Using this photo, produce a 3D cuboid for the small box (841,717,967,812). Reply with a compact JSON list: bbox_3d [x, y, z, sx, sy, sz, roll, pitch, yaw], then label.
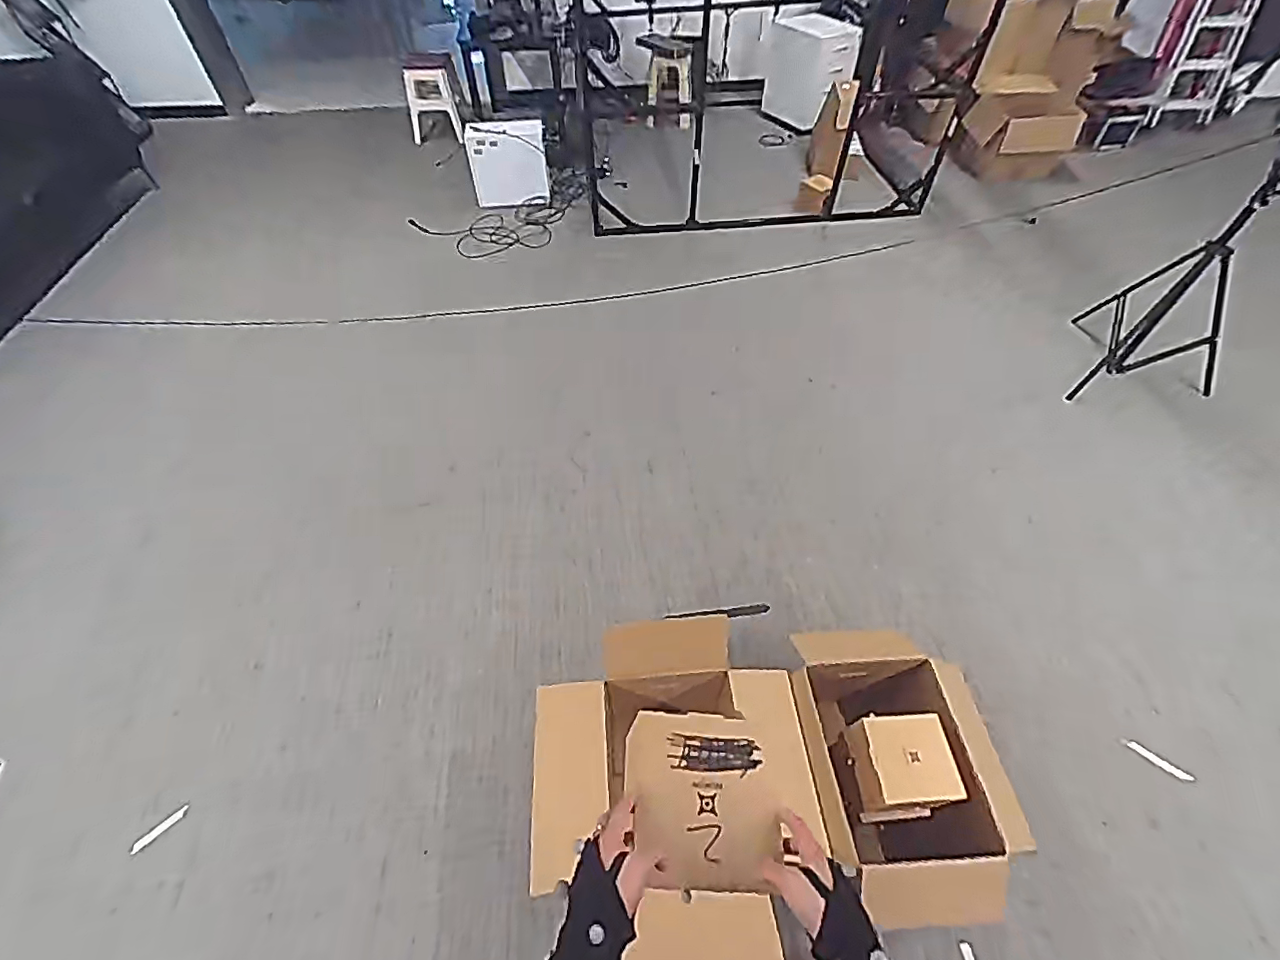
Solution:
[{"bbox_3d":[0.576,0.637,1.207,0.179,0.176,0.168,-3,54,-2],"label":"small box"}]
